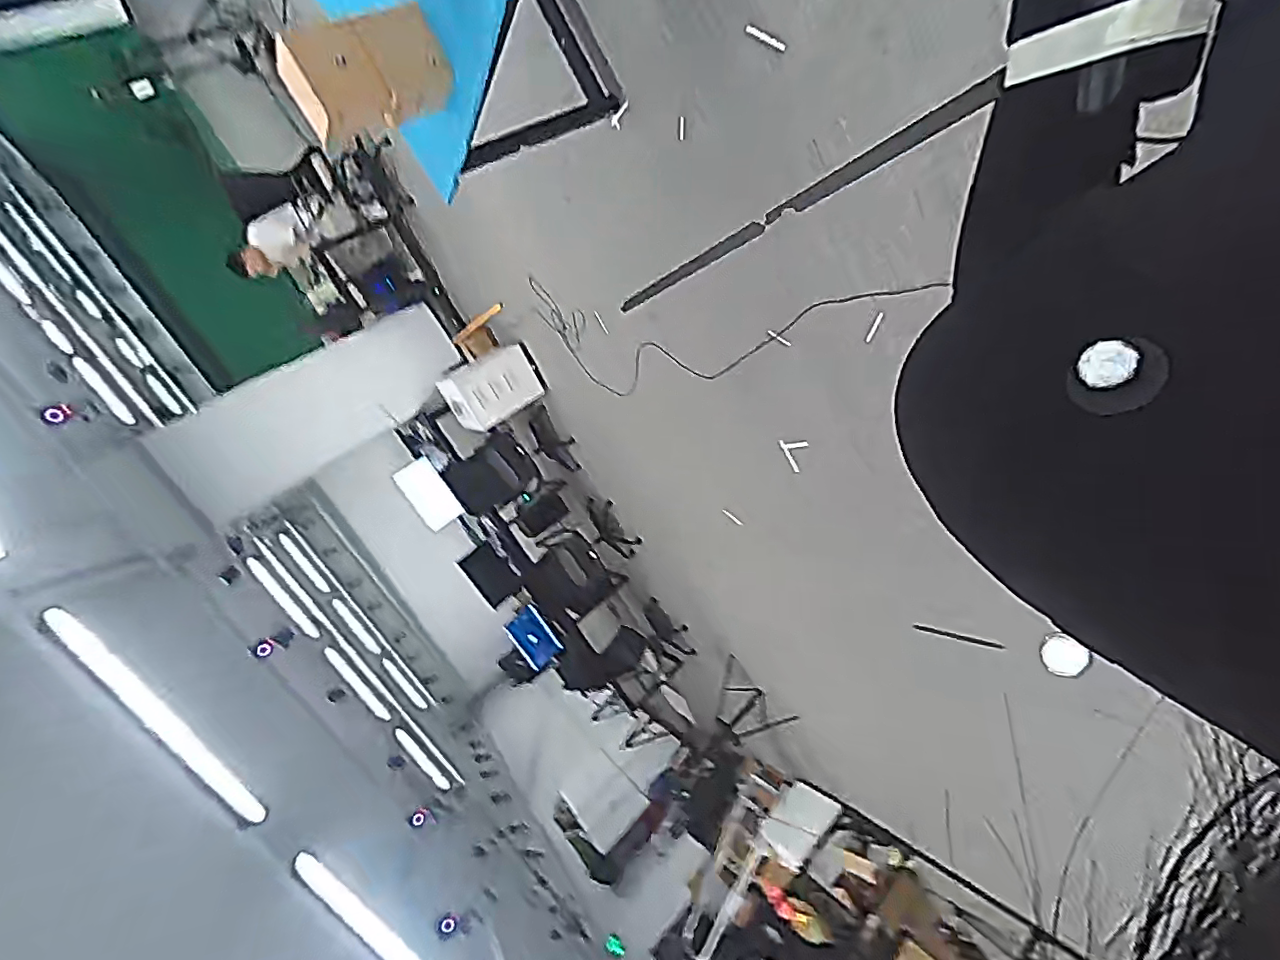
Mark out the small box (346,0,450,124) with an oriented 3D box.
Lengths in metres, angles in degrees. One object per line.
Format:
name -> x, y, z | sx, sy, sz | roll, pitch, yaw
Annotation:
small box -> -0.610, -1.036, 1.353 | 0.168, 0.176, 0.179 | 6, 130, 58

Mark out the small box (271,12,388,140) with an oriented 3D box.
small box -> -0.739, -0.953, 1.291 | 0.168, 0.176, 0.179 | 11, 136, 56
